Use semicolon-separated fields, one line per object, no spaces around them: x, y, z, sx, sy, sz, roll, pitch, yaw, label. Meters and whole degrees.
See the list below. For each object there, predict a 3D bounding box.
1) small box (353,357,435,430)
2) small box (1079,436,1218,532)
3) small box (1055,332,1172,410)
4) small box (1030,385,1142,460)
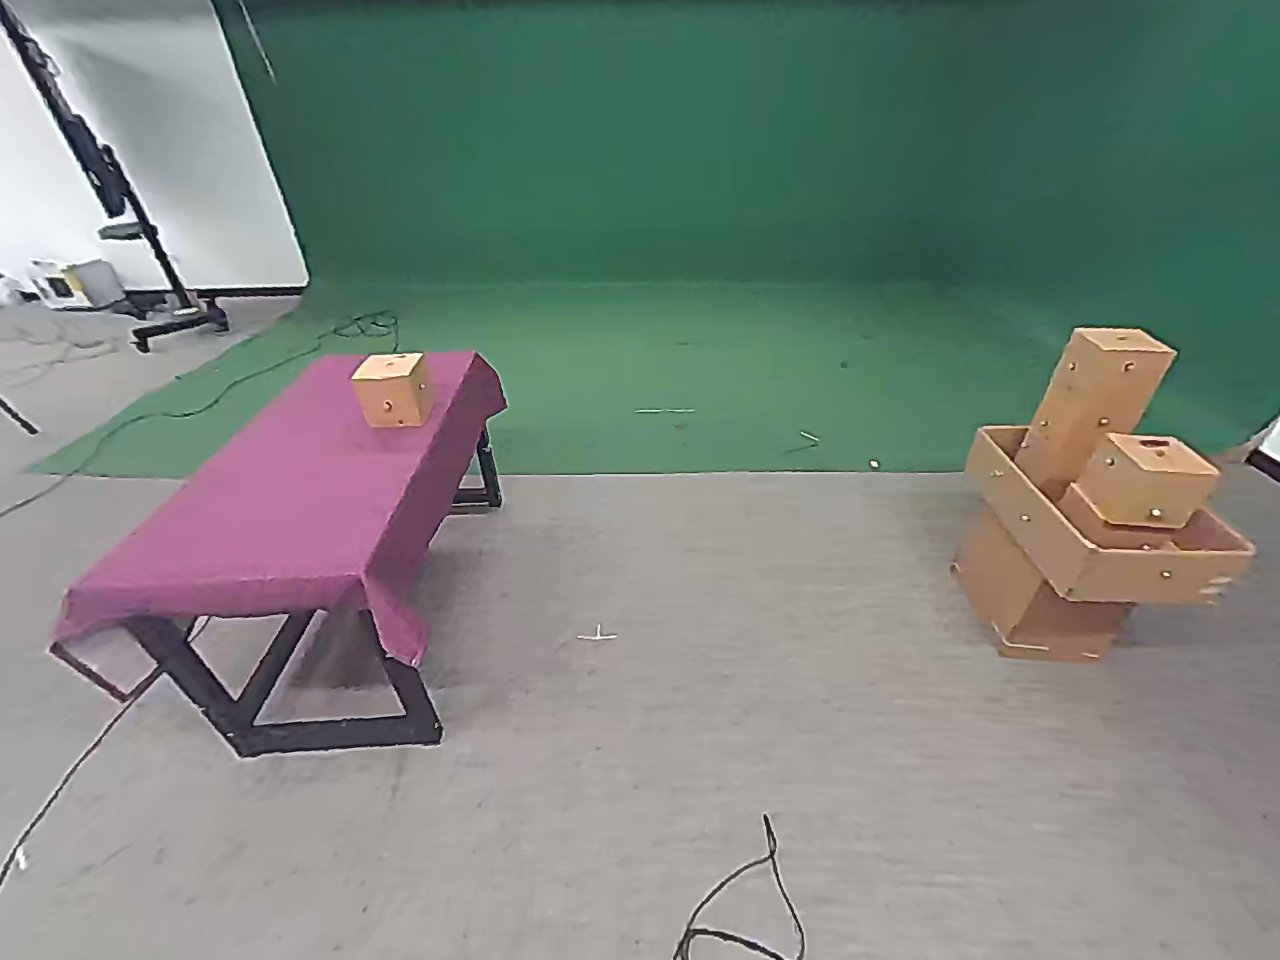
-0.750;-0.264;1.672;0.168;0.176;0.179;-3;36;-2;small box
1.271;0.008;1.372;0.168;0.176;0.179;4;36;8;small box
1.323;-0.308;1.533;0.179;0.176;0.168;4;36;7;small box
1.328;-0.171;1.625;0.179;0.176;0.168;3;36;7;small box
